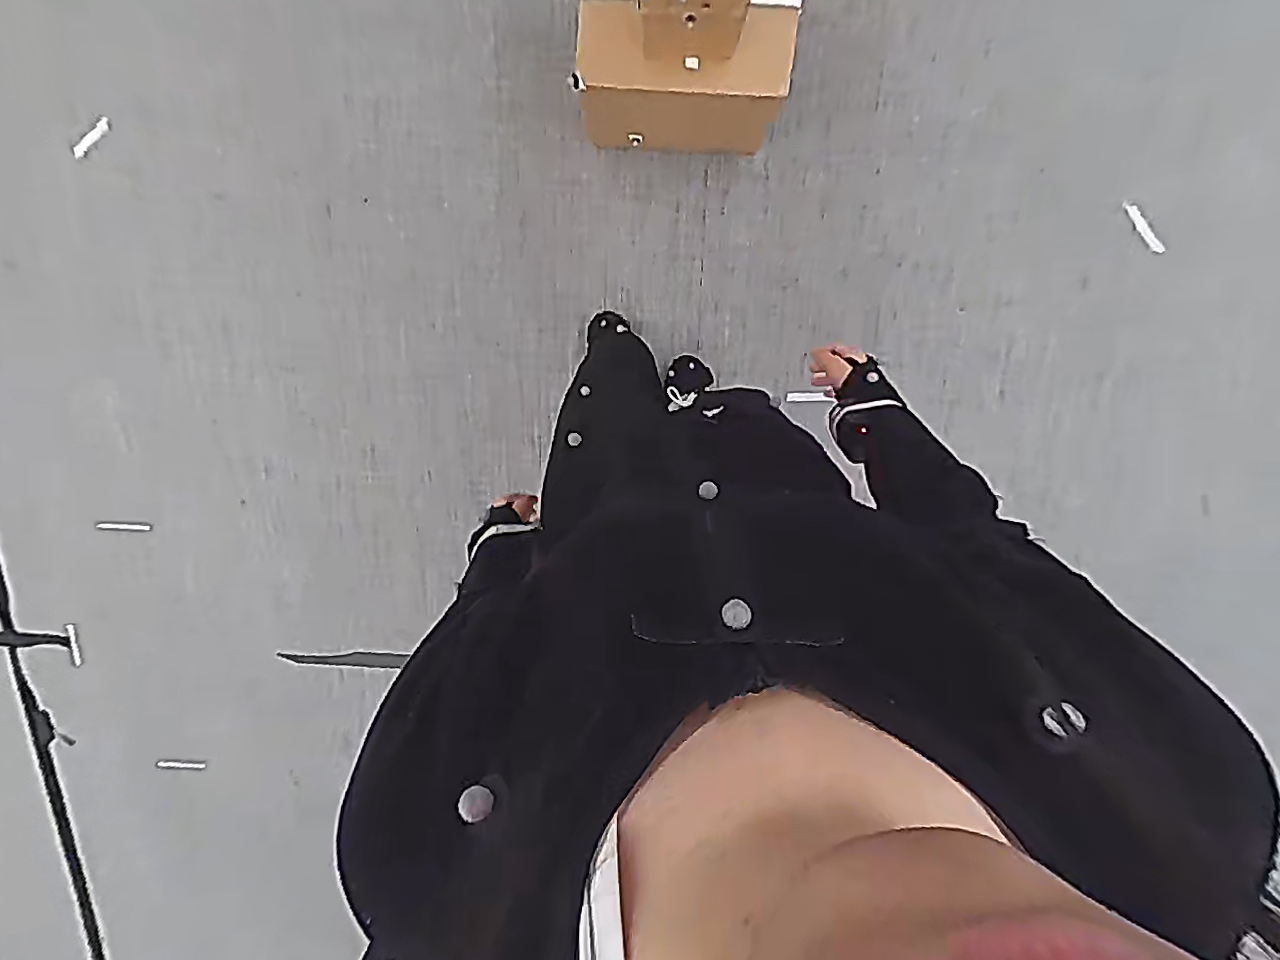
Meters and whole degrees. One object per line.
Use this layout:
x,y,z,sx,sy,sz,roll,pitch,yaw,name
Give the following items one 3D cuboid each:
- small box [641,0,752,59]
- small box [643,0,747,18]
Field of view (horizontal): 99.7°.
0.092,-0.842,0.909,0.179,0.176,0.168,1,104,0,small box
0.084,-0.797,0.753,0.168,0.176,0.179,2,105,1,small box
